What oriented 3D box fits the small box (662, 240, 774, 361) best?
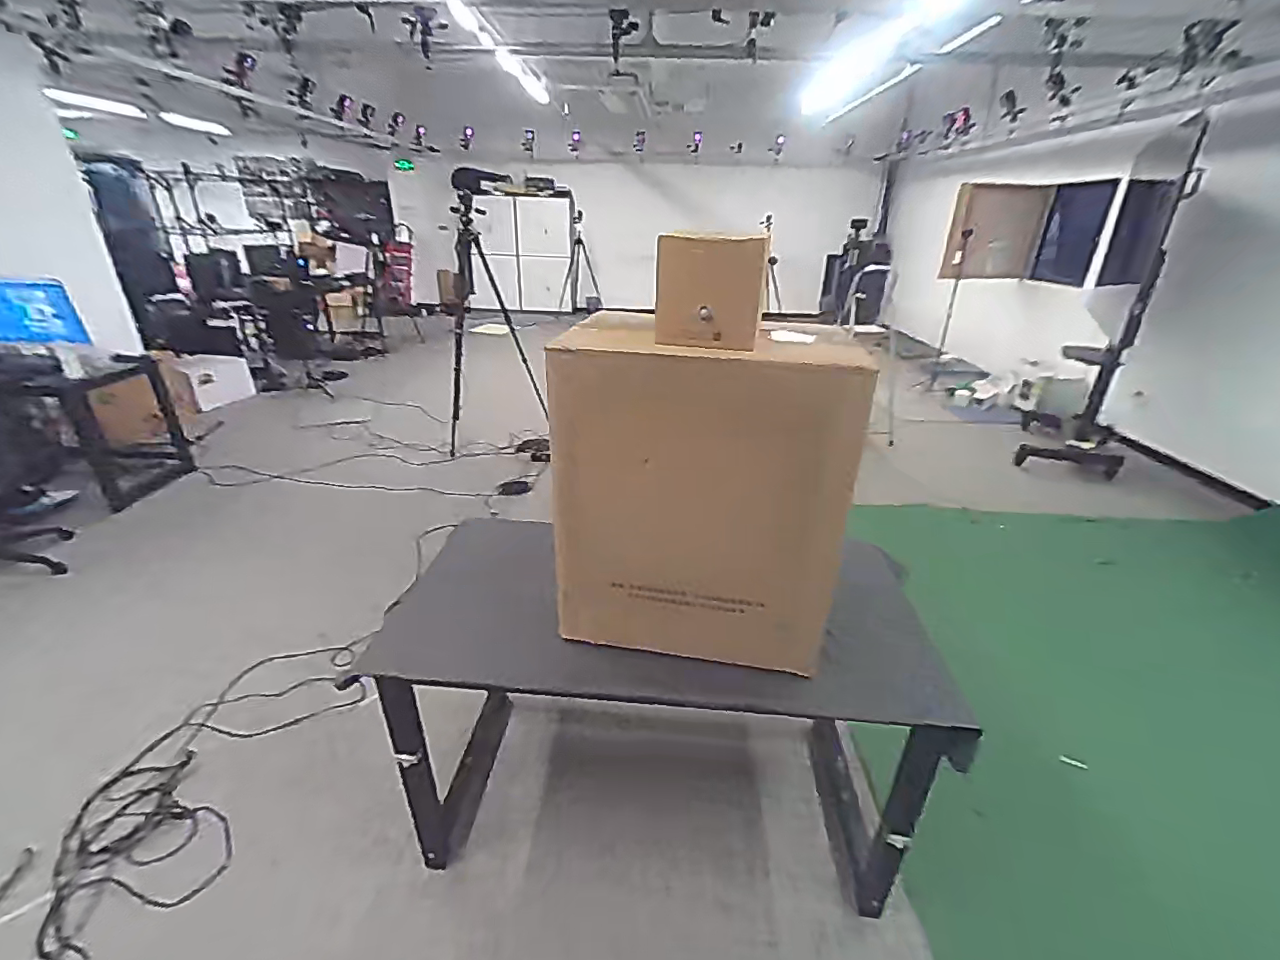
[{"bbox_3d":[0.134,-0.315,0.934,0.168,0.176,0.179,8,28,12],"label":"small box"}]
